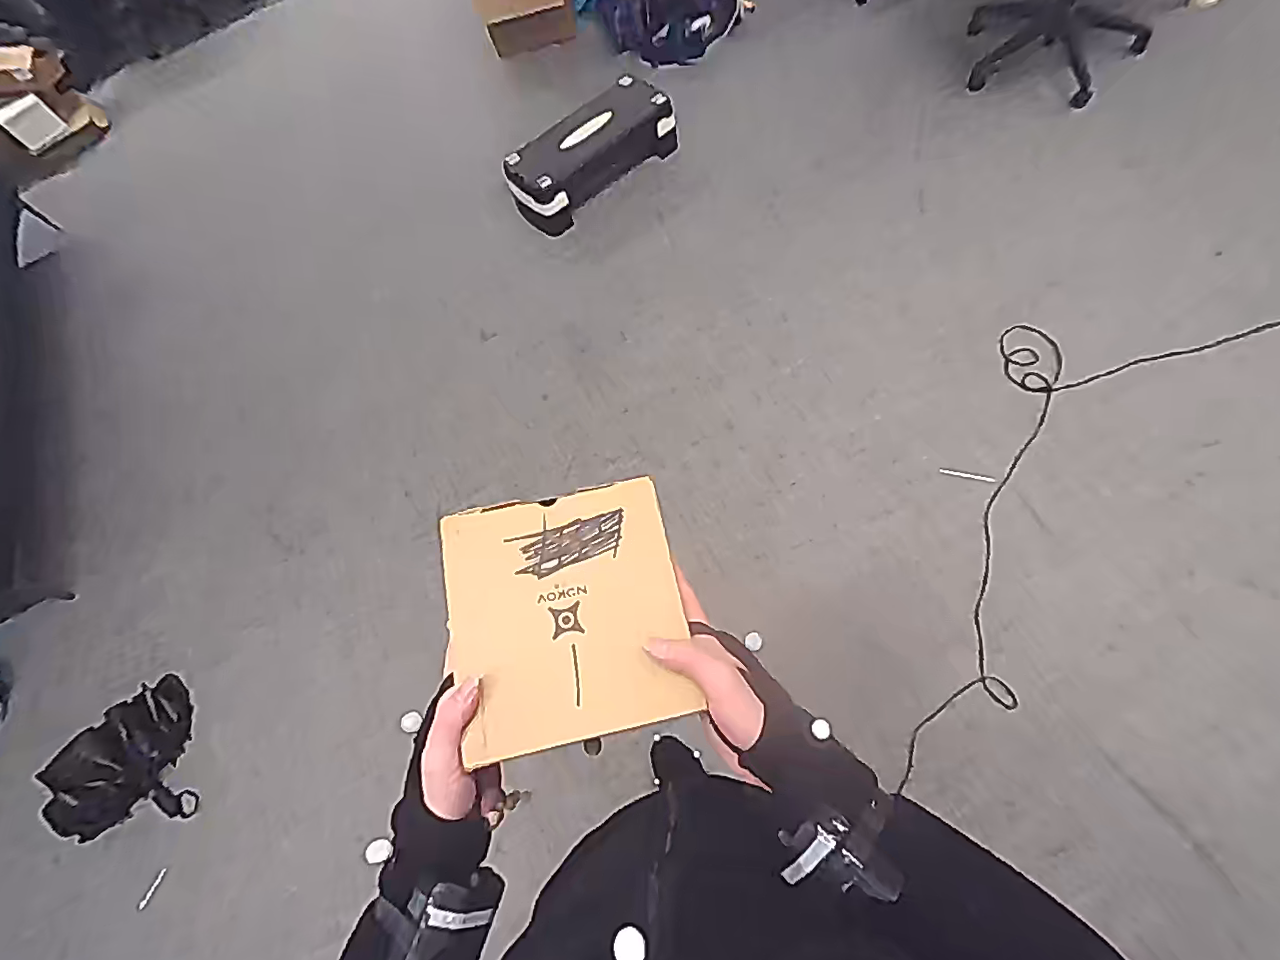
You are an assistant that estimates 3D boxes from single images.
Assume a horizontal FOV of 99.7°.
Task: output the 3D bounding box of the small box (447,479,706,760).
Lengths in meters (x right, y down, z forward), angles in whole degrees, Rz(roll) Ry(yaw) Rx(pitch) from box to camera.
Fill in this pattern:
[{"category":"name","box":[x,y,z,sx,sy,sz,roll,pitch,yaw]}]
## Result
[{"category":"small box","box":[-0.054,0.122,0.463,0.168,0.176,0.179,-11,68,-6]}]
